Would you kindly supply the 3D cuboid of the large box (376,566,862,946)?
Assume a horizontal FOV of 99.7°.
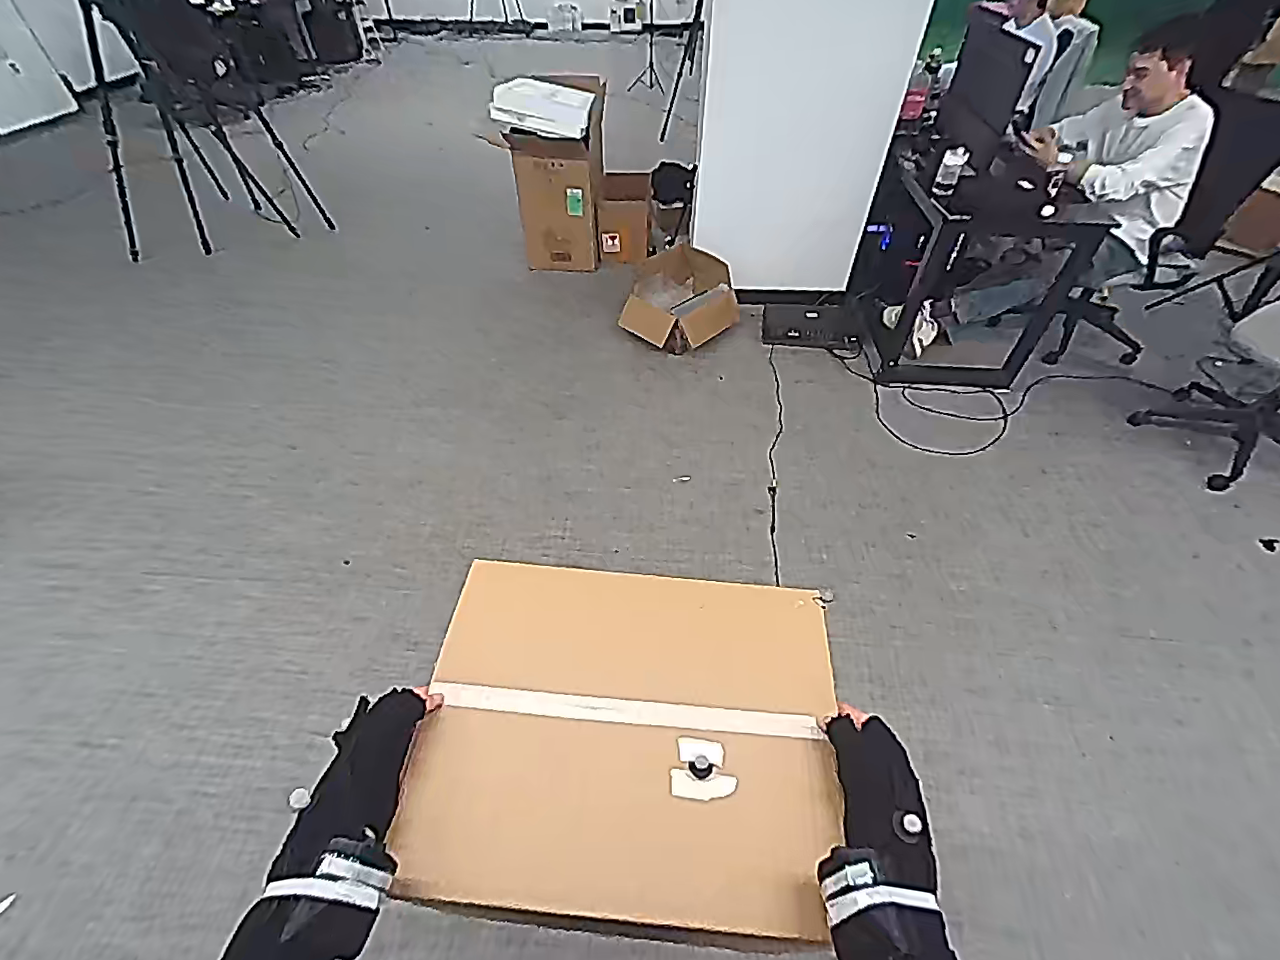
[{"bbox_3d":[-0.015,0.329,0.642,0.408,0.320,0.320,5,48,1],"label":"large box"}]
